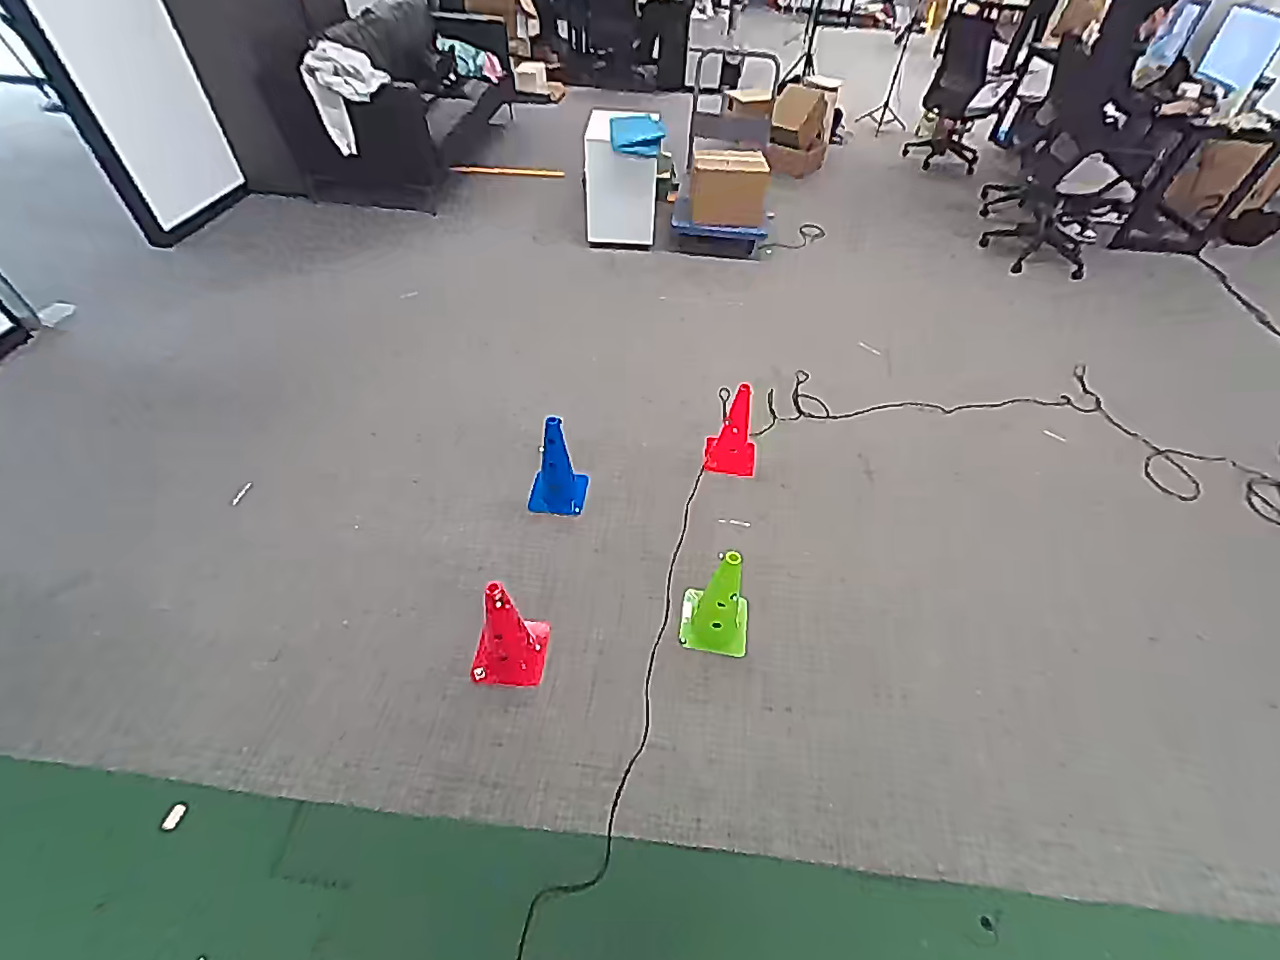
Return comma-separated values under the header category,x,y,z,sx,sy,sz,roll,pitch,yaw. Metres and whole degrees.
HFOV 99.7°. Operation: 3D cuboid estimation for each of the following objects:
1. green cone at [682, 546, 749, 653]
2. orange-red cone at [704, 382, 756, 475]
category,x,y,z,sx,sy,sz,roll,pitch,yaw
green cone,0.244,0.314,1.536,0.200,0.368,0.202,8,47,4
orange-red cone,0.364,-0.214,2.028,0.198,0.360,0.199,9,49,6
